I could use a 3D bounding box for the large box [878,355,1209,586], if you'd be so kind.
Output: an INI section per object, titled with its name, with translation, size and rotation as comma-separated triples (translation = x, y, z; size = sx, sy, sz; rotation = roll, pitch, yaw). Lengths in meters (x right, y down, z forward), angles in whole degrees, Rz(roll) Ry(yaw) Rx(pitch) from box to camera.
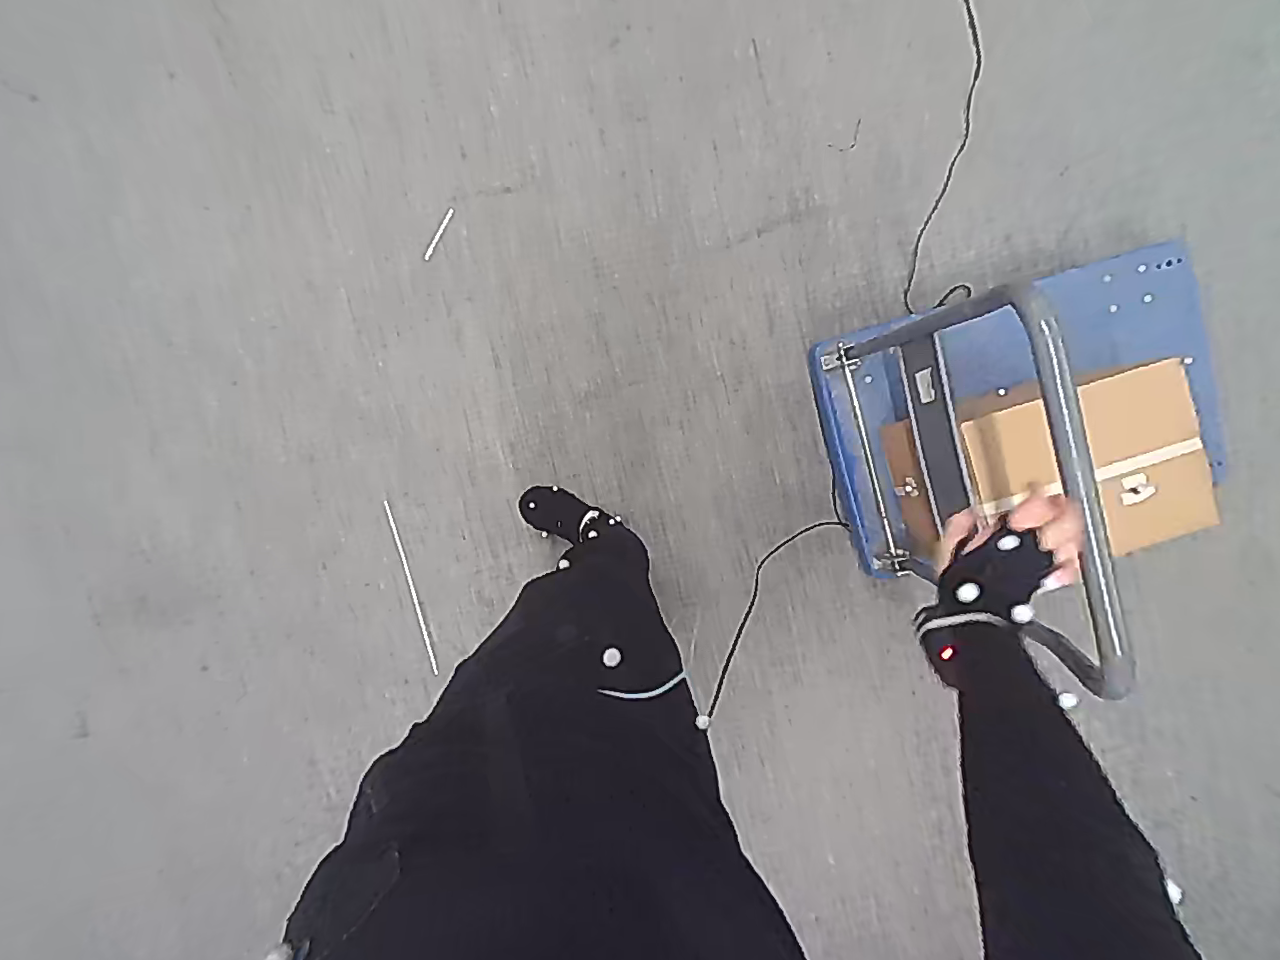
[large box]
translation = 0.777, -0.022, 1.100
size = 0.408, 0.320, 0.320
rotation = -17, 95, -1
